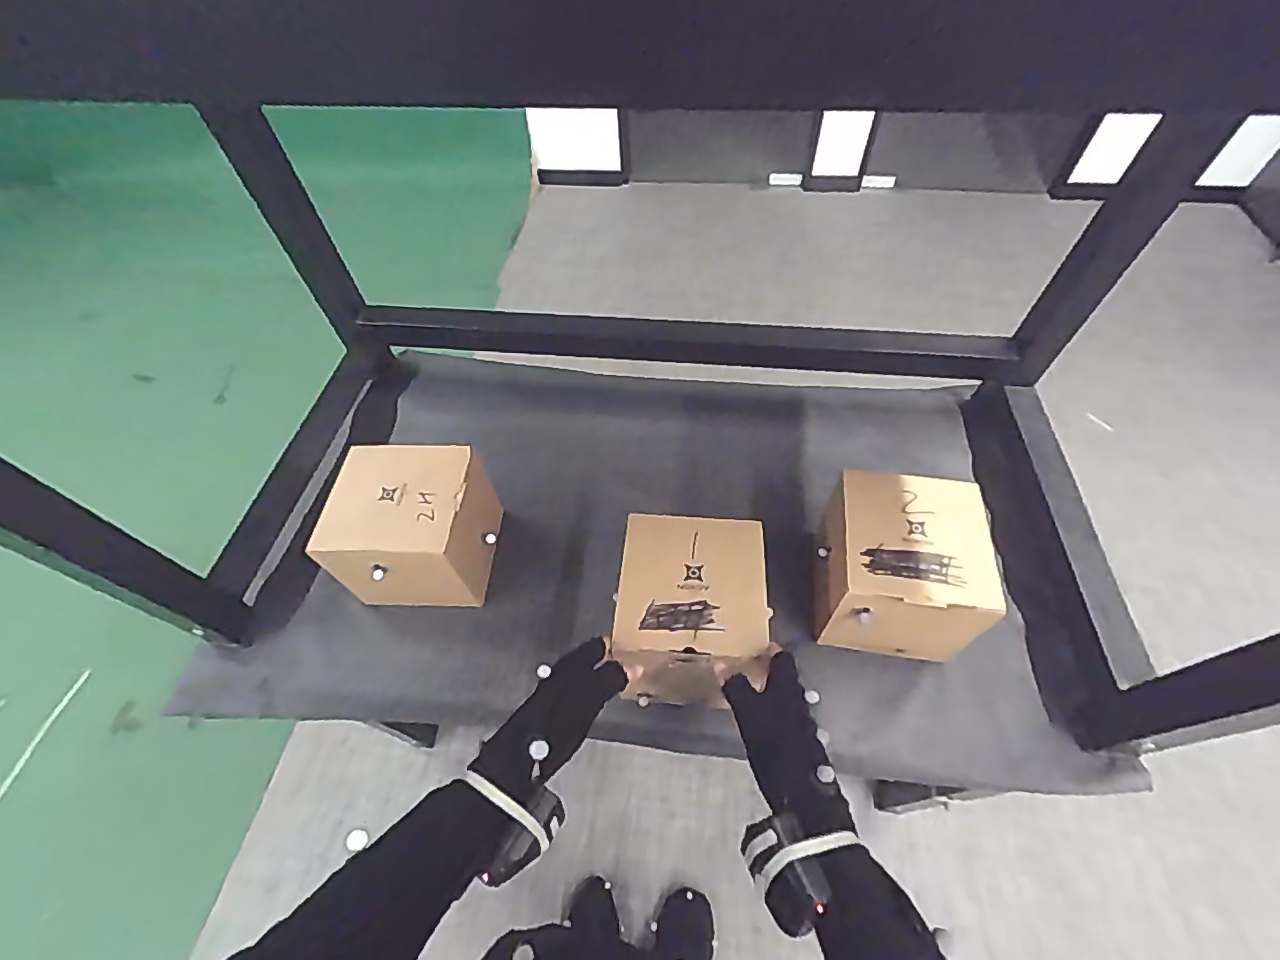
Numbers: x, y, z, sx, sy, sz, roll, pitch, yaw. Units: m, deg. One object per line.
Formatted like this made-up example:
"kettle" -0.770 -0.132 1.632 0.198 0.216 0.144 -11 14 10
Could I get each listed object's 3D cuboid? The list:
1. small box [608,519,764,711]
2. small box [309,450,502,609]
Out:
"small box" 0.059 0.170 0.671 0.168 0.176 0.179 3 50 5
"small box" -0.313 0.074 0.766 0.179 0.176 0.168 1 55 3
